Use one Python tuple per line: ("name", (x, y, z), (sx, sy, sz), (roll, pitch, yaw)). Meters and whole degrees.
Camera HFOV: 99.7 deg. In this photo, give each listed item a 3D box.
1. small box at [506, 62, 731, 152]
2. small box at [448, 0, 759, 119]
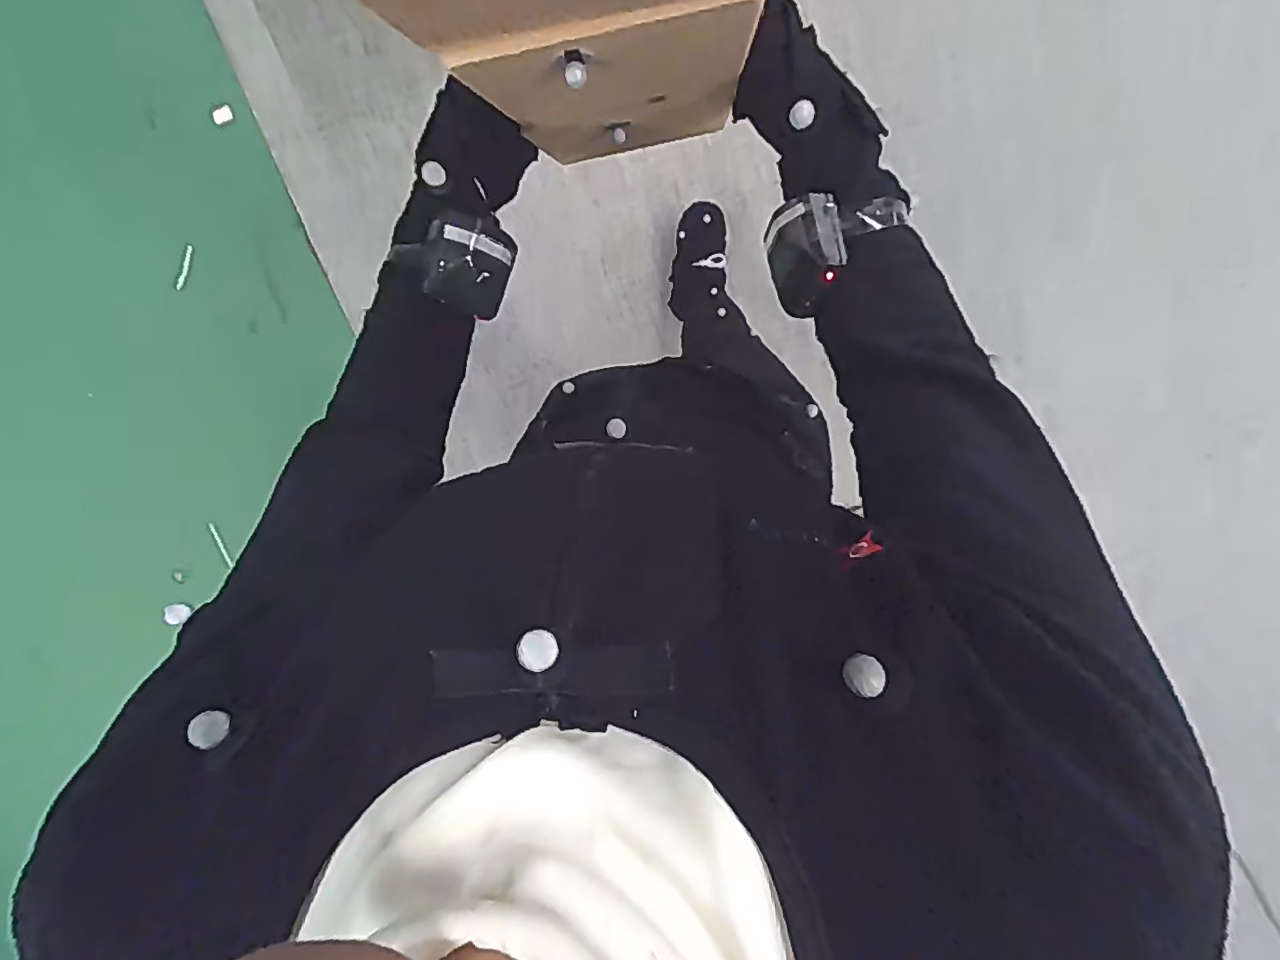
("small box", (-0.021, -0.401, 0.465), (0.179, 0.176, 0.168), (-8, 112, 8))
("small box", (-0.028, -0.344, 0.314), (0.168, 0.176, 0.179), (-10, 112, 7))
